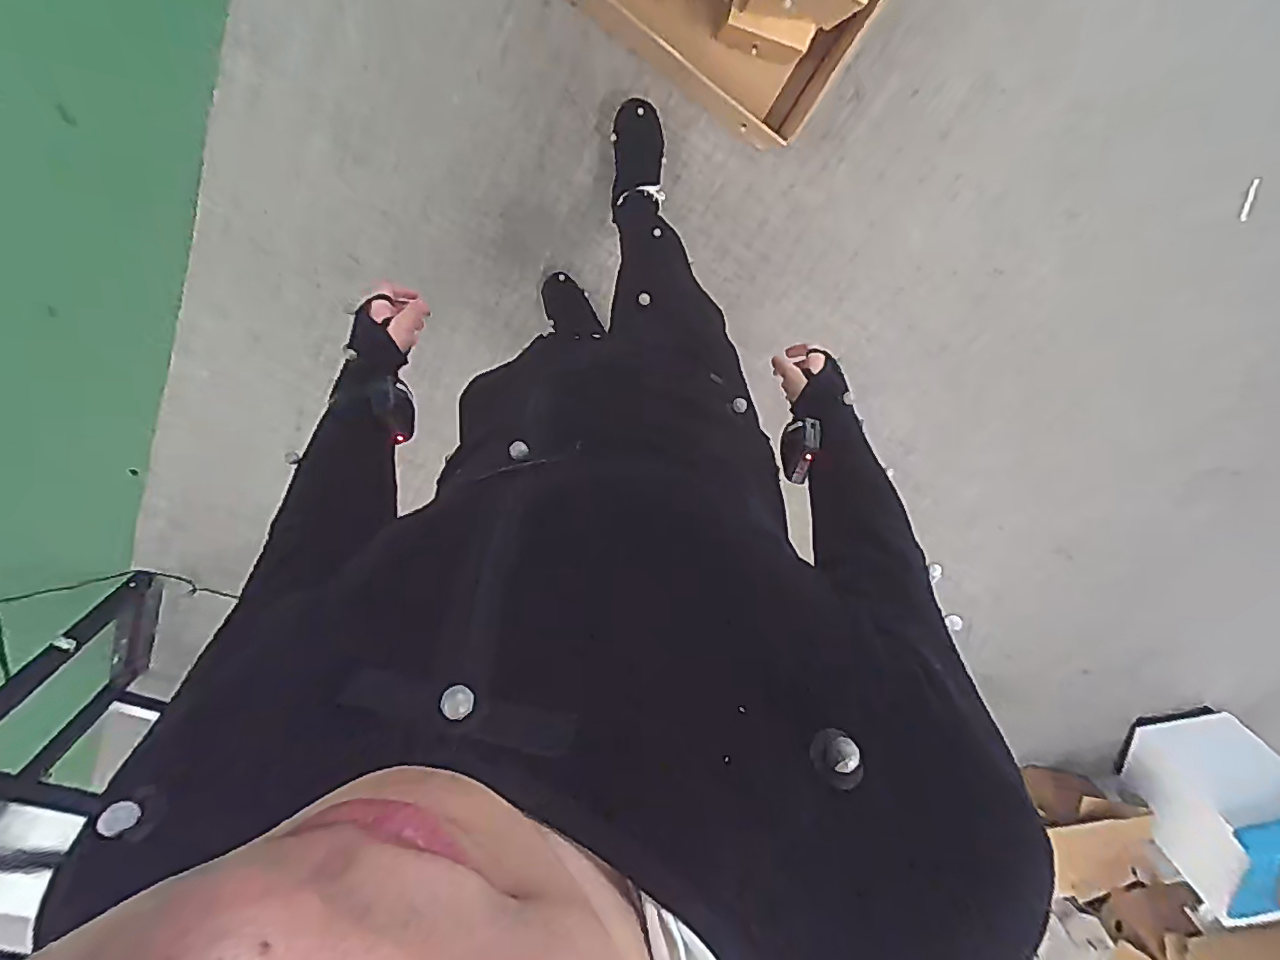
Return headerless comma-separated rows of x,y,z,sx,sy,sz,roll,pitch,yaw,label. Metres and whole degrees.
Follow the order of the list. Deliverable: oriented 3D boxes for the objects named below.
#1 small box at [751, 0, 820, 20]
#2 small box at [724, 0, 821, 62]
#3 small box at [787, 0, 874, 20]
0.286,-0.899,0.899,0.168,0.176,0.179,4,119,-4,small box
0.272,-0.953,1.055,0.168,0.176,0.179,13,118,-9,small box
0.276,-0.799,0.768,0.179,0.176,0.168,20,117,-14,small box
